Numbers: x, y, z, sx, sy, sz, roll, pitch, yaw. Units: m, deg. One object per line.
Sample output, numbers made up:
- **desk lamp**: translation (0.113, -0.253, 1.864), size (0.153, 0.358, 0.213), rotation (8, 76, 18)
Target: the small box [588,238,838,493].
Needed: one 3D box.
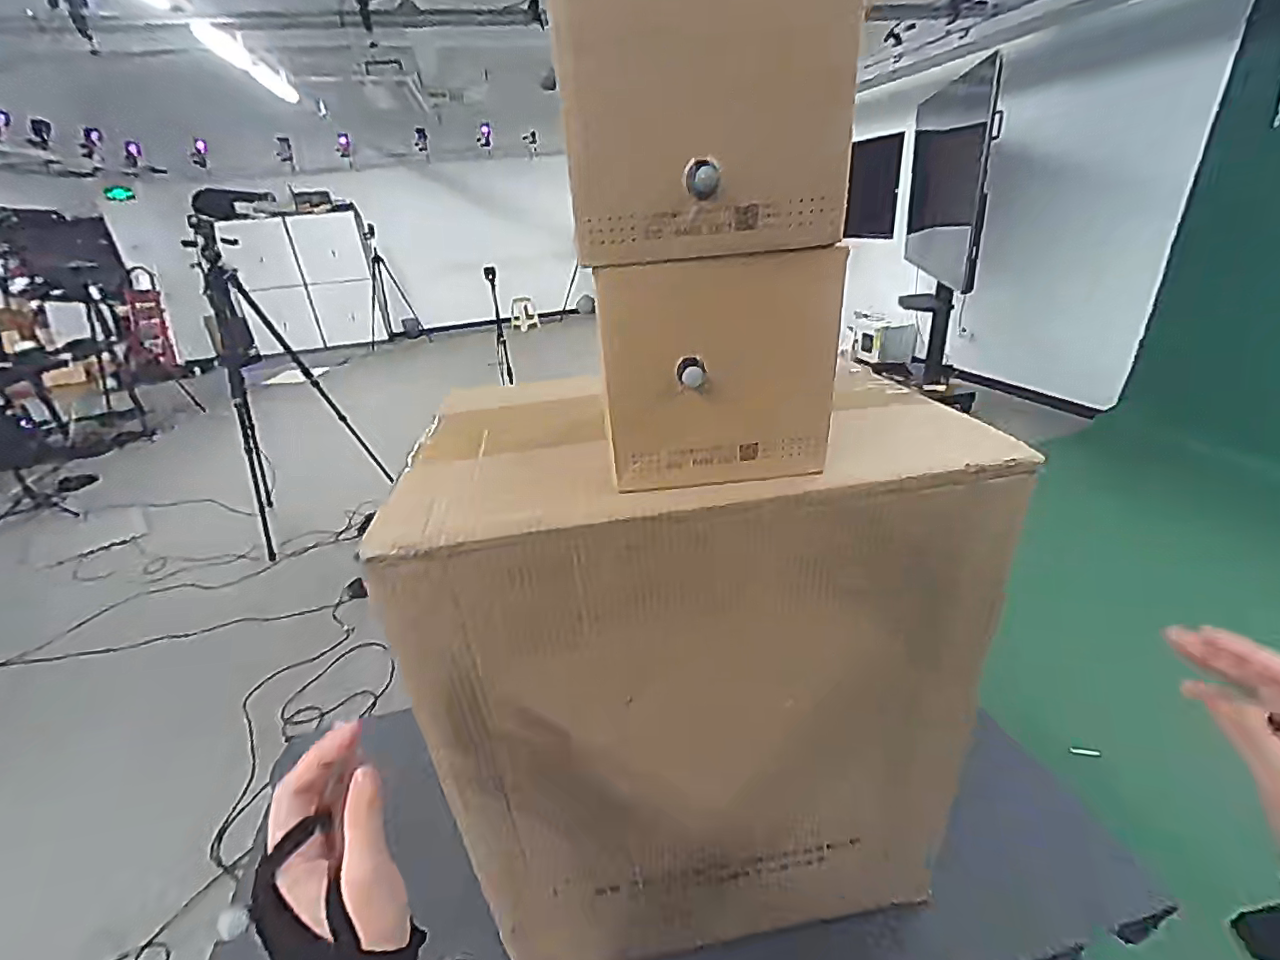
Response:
- **small box**: translation (0.050, -0.097, 0.454), size (0.168, 0.176, 0.179), rotation (-6, 28, -1)
